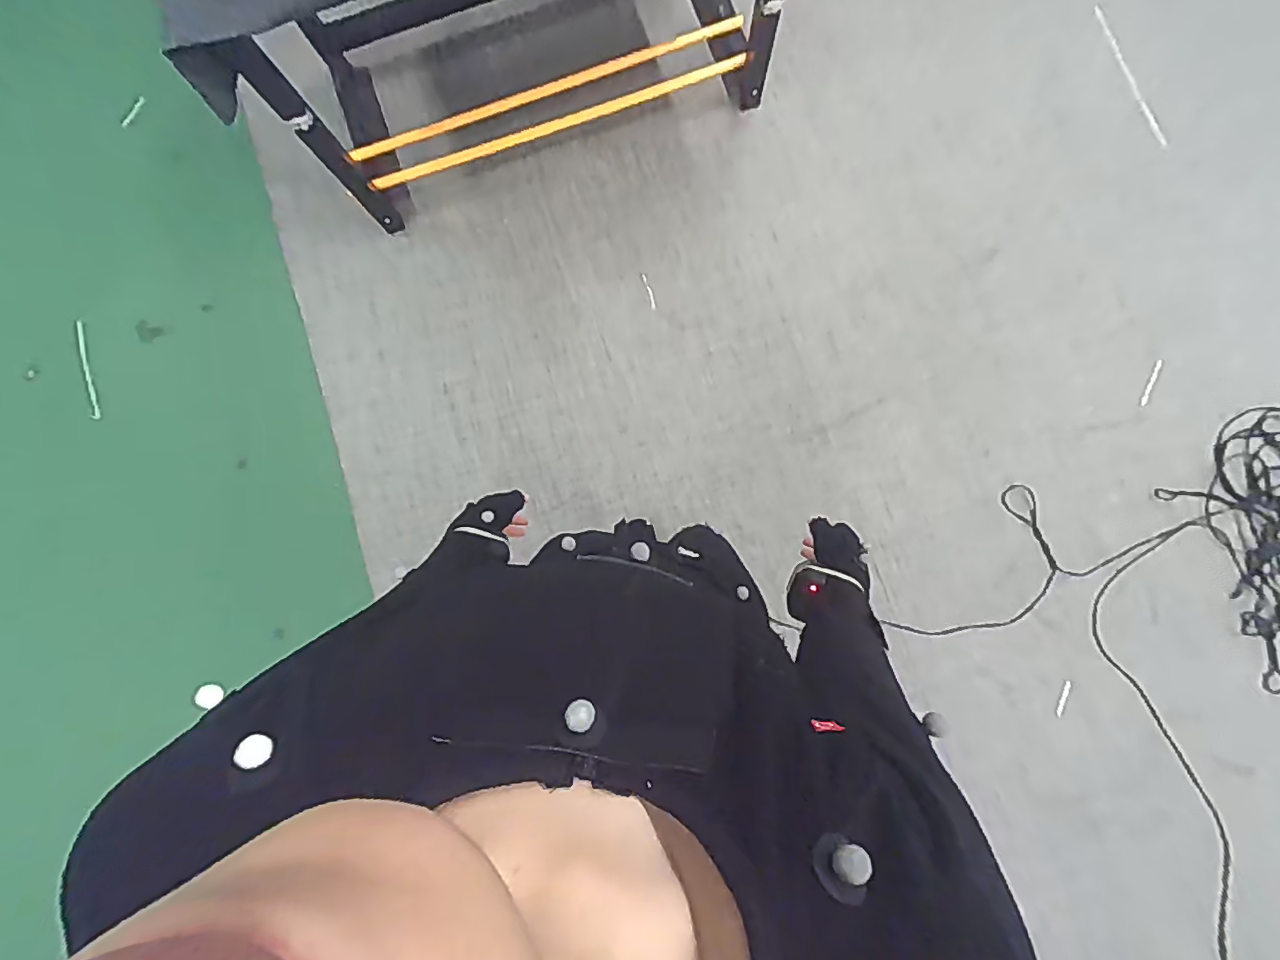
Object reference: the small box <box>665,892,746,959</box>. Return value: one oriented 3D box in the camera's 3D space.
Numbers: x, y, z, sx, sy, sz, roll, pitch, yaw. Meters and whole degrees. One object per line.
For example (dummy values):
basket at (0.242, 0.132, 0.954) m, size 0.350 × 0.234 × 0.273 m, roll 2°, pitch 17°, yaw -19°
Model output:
small box at (0.163, 1.140, 1.287) m, size 0.168 × 0.176 × 0.179 m, roll -16°, pitch 83°, yaw 1°
